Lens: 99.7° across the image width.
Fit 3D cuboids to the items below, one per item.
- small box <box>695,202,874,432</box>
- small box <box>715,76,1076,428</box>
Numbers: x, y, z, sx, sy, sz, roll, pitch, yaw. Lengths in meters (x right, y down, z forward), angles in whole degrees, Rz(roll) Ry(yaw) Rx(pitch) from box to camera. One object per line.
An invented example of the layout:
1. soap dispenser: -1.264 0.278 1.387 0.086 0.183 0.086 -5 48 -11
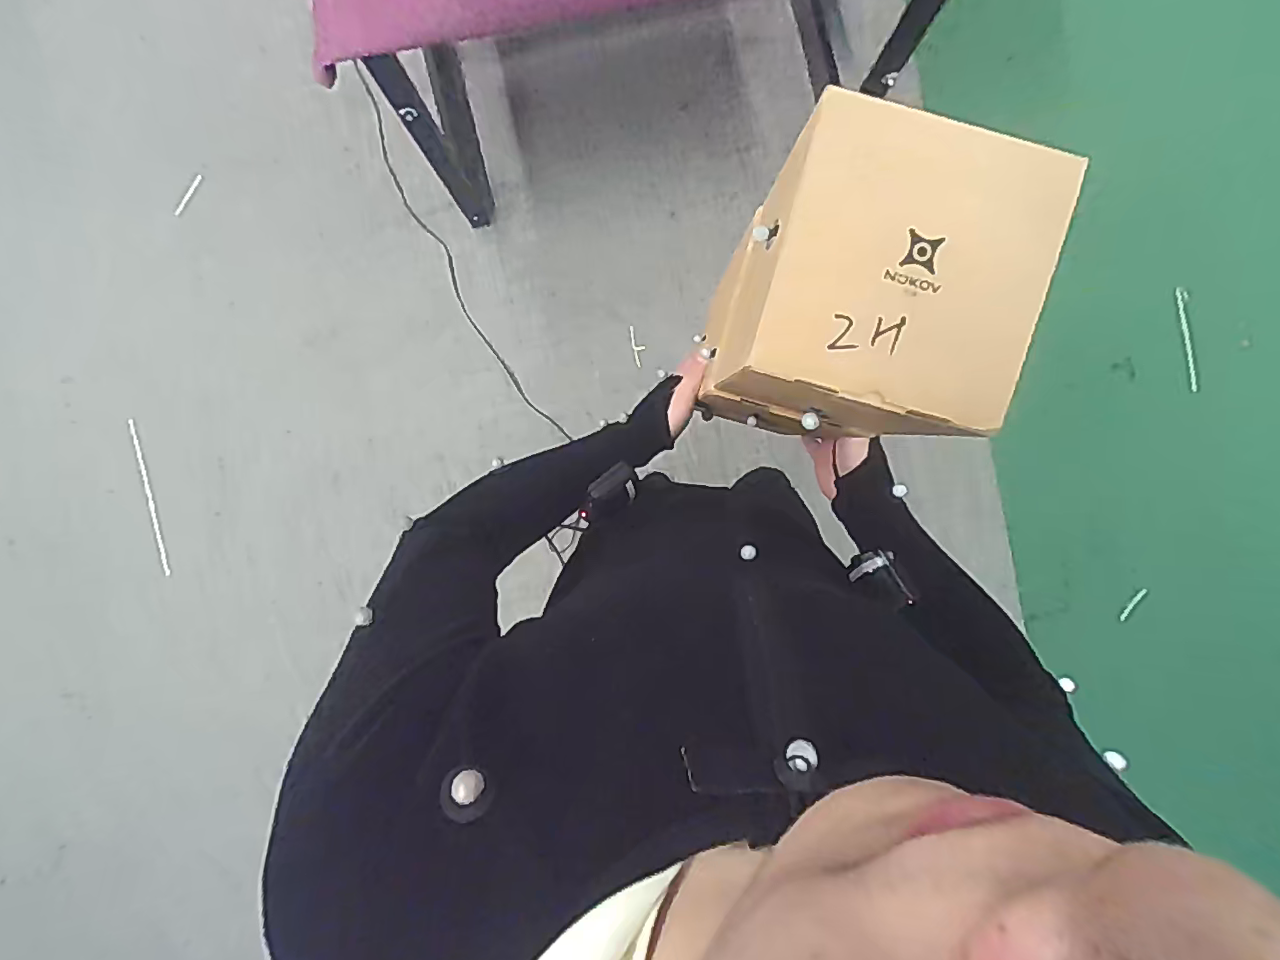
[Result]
1. small box: 0.160 -0.155 0.573 0.168 0.176 0.179 14 96 -1
2. small box: 0.162 -0.144 0.408 0.168 0.176 0.179 15 95 0
